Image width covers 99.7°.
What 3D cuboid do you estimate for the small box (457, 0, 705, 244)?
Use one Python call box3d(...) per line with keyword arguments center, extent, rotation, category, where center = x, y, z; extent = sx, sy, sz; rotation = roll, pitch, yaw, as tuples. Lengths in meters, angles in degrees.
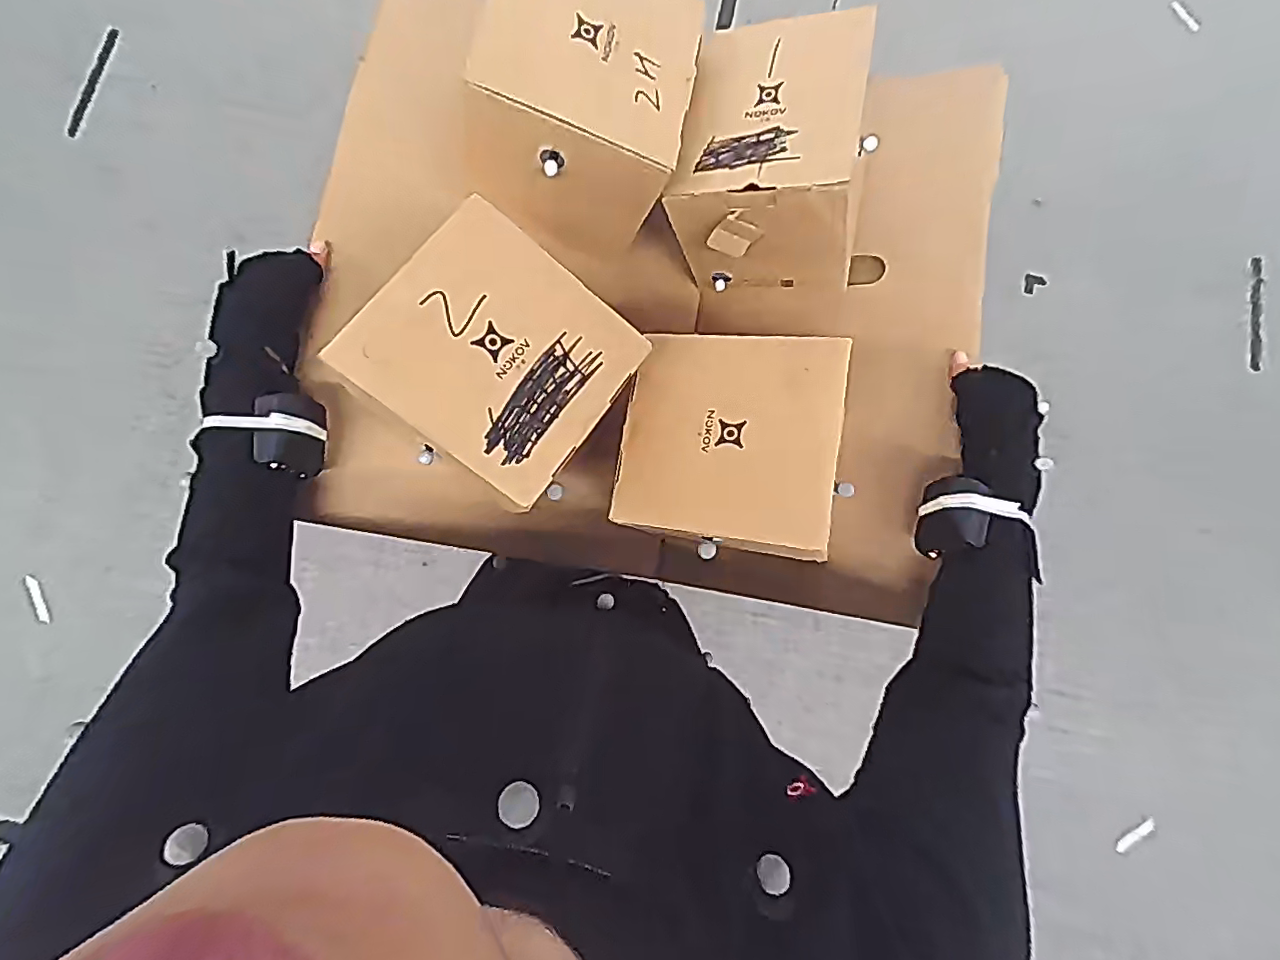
box3d(center=(-0.065, -0.357, 0.512), extent=(0.179, 0.176, 0.168), rotation=(15, 82, -17), category="small box")
